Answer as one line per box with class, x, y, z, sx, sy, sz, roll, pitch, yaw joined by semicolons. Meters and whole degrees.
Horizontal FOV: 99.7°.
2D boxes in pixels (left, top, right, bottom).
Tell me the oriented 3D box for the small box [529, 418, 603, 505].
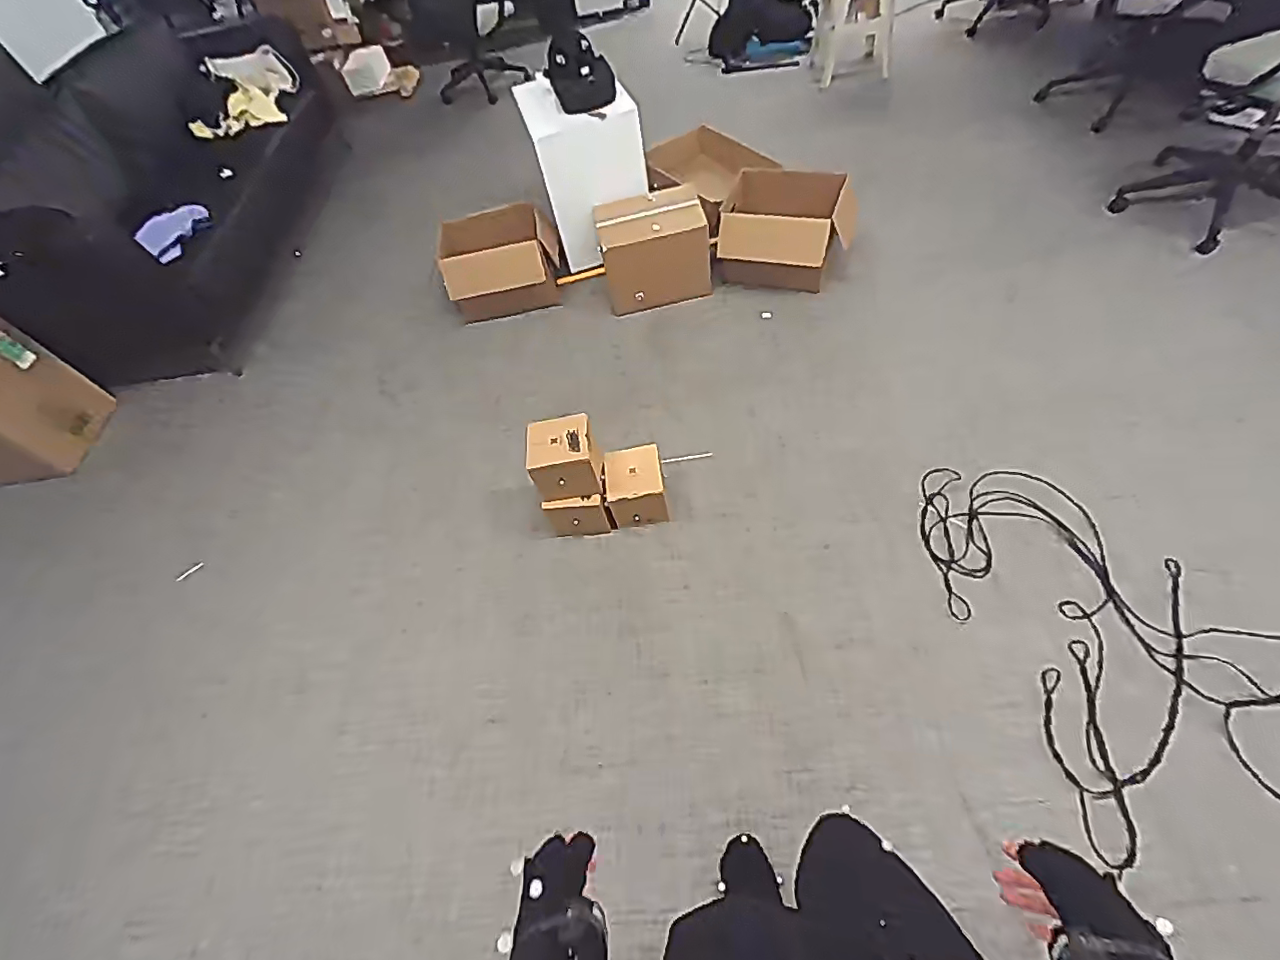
small box;-0.204;-0.049;1.541;0.179;0.176;0.168;-10;54;5
